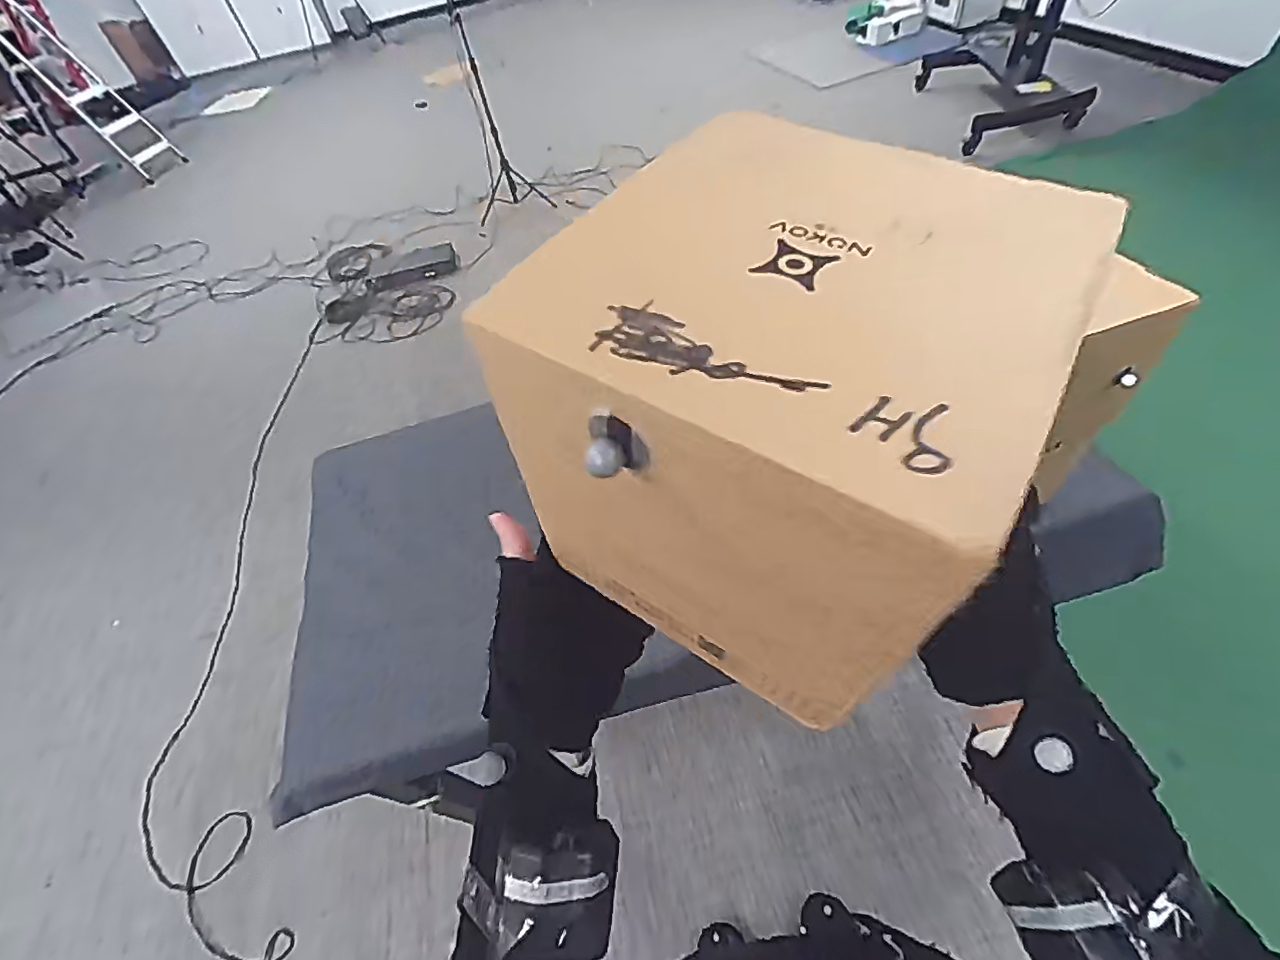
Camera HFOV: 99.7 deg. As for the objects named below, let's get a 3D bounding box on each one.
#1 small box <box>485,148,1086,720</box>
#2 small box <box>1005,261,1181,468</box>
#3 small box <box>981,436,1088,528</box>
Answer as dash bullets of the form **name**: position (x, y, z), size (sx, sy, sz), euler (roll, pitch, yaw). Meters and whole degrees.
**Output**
- **small box**: position (0.061, -0.023, 0.259), size (0.168, 0.176, 0.179), euler (27, 58, 23)
- **small box**: position (0.431, -0.134, 0.624), size (0.179, 0.176, 0.168), euler (-20, 48, -4)
- **small box**: position (0.453, -0.039, 0.753), size (0.168, 0.176, 0.179), euler (-21, 49, -6)
